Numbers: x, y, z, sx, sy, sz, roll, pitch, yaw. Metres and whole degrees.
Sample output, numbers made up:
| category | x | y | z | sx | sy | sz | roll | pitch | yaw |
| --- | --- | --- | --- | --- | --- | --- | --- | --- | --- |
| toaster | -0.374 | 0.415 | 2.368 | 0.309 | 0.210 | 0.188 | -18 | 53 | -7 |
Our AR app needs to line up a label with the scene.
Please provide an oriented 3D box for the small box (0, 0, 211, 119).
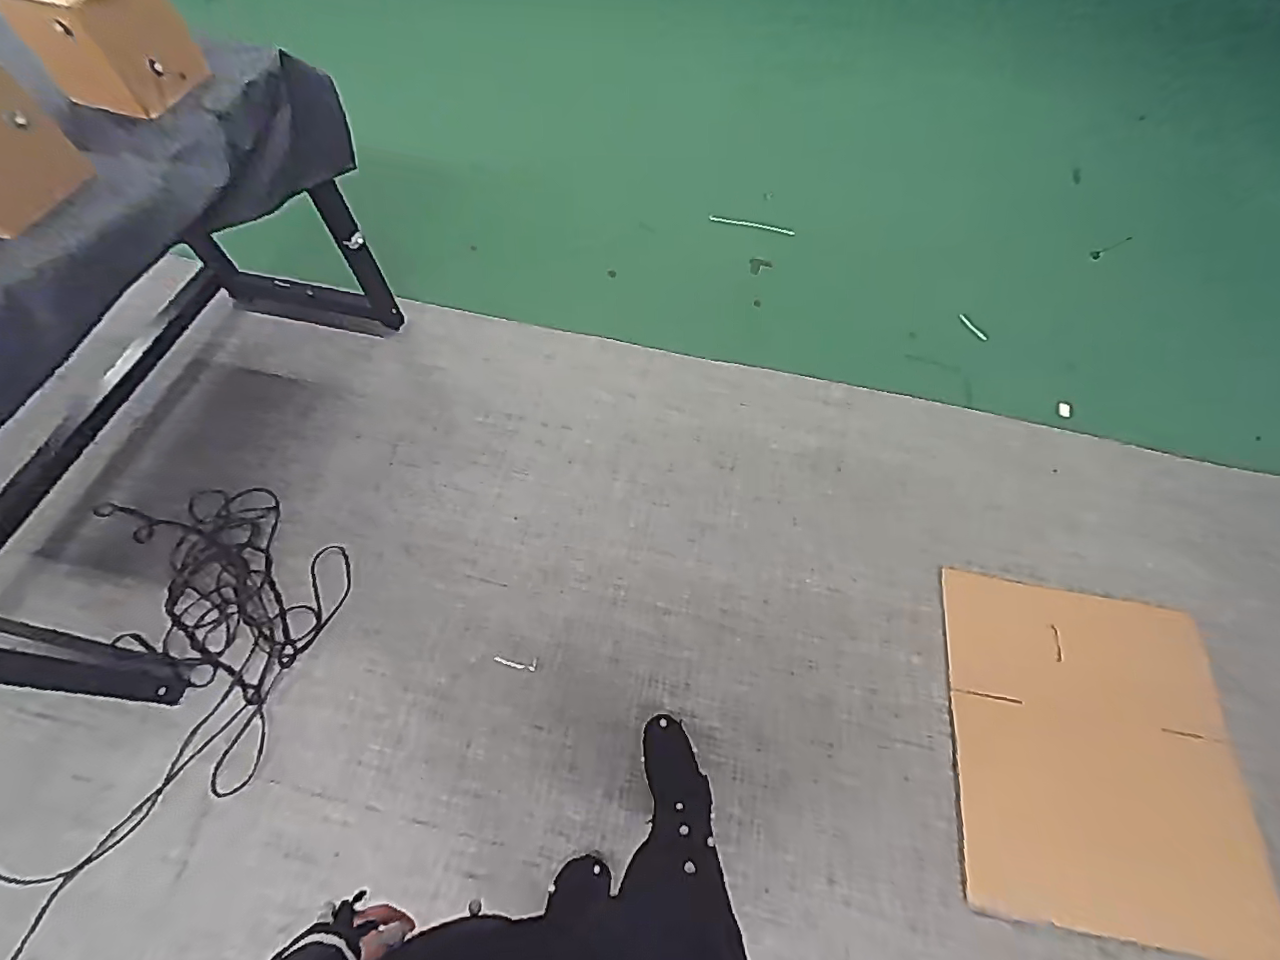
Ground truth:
| category | x | y | z | sx | sy | sz | roll | pitch | yaw |
| --- | --- | --- | --- | --- | --- | --- | --- | --- | --- |
| small box | -0.916 | -0.762 | 0.936 | 0.179 | 0.176 | 0.168 | 16 | 63 | 7 |
